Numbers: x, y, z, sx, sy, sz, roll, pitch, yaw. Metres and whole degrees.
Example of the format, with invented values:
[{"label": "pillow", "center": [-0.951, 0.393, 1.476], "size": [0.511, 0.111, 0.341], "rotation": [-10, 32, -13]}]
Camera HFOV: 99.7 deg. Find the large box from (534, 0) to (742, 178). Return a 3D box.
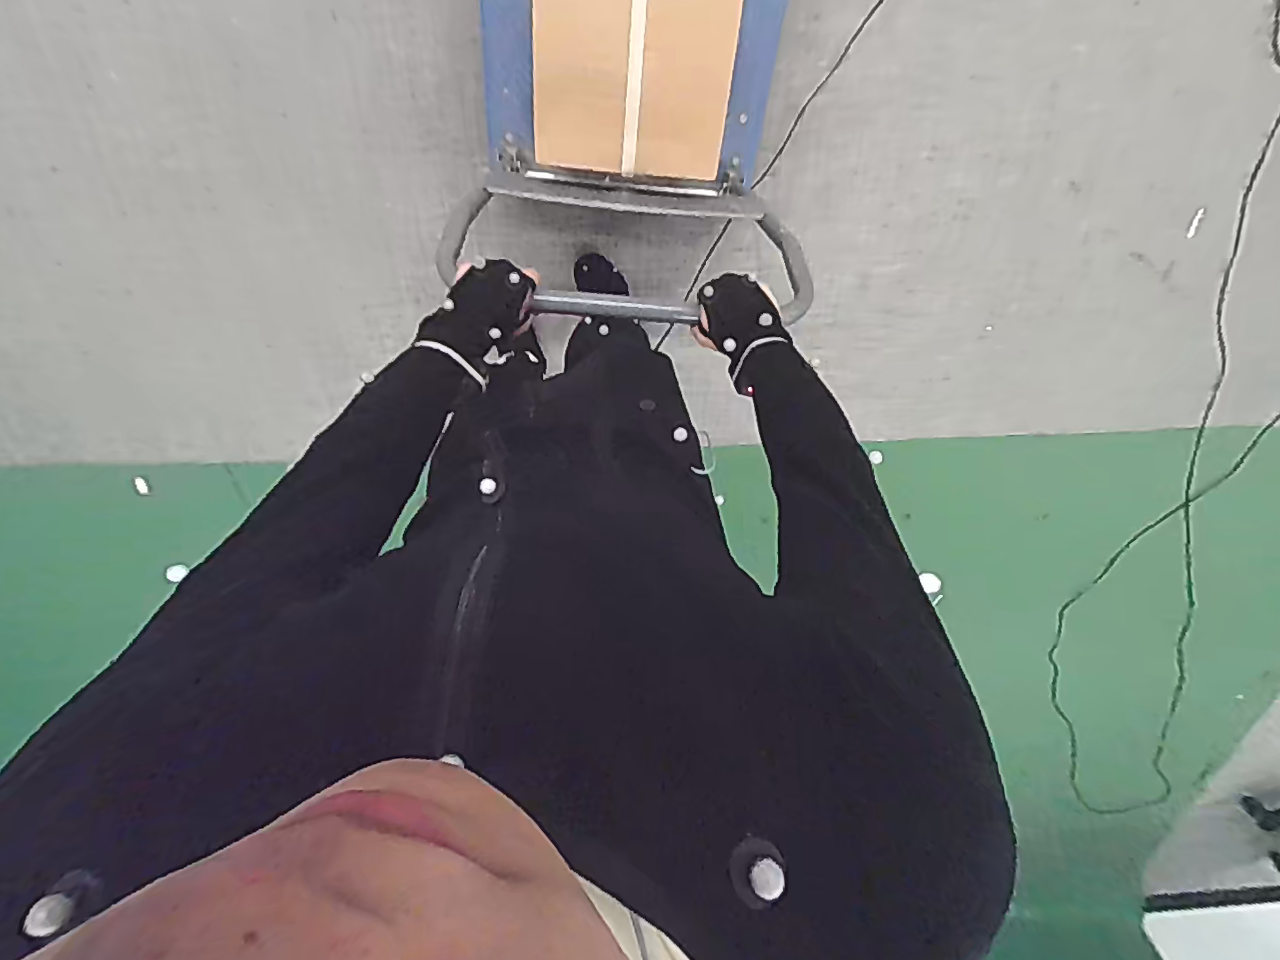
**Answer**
[{"label": "large box", "center": [-0.007, -0.772, 0.935], "size": [0.320, 0.320, 0.408], "rotation": [3, 124, -5]}]
